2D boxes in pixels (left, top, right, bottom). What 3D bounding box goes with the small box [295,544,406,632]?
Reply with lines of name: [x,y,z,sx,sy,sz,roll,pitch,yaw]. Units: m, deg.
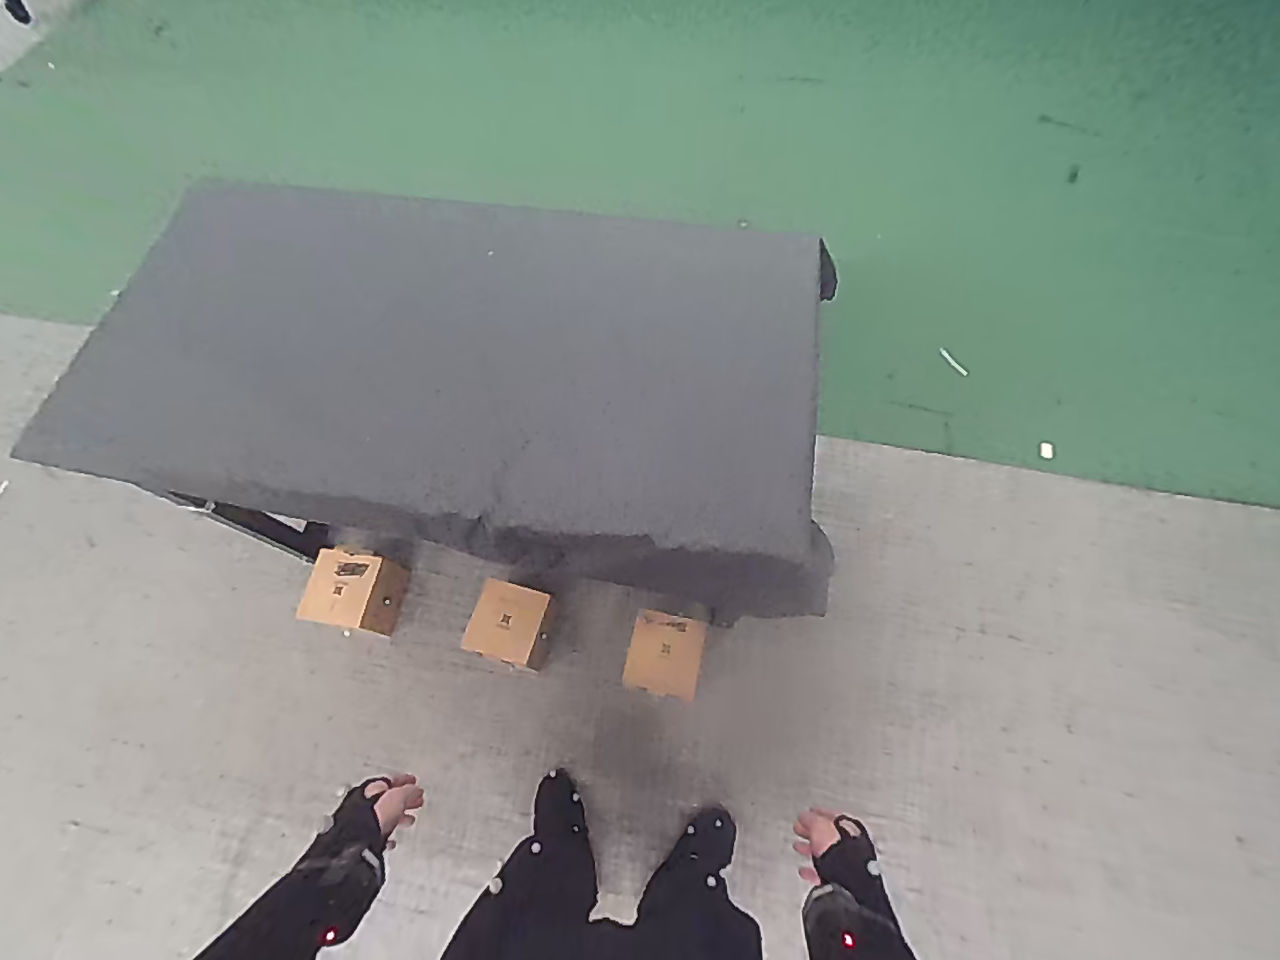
small box: [-0.724,0.279,1.377,0.168,0.176,0.179,8,69,5]

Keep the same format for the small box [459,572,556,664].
small box: [-0.317,0.348,1.340,0.168,0.176,0.179,14,68,6]

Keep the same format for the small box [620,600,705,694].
small box: [0.056,0.408,1.305,0.168,0.176,0.179,12,67,7]
